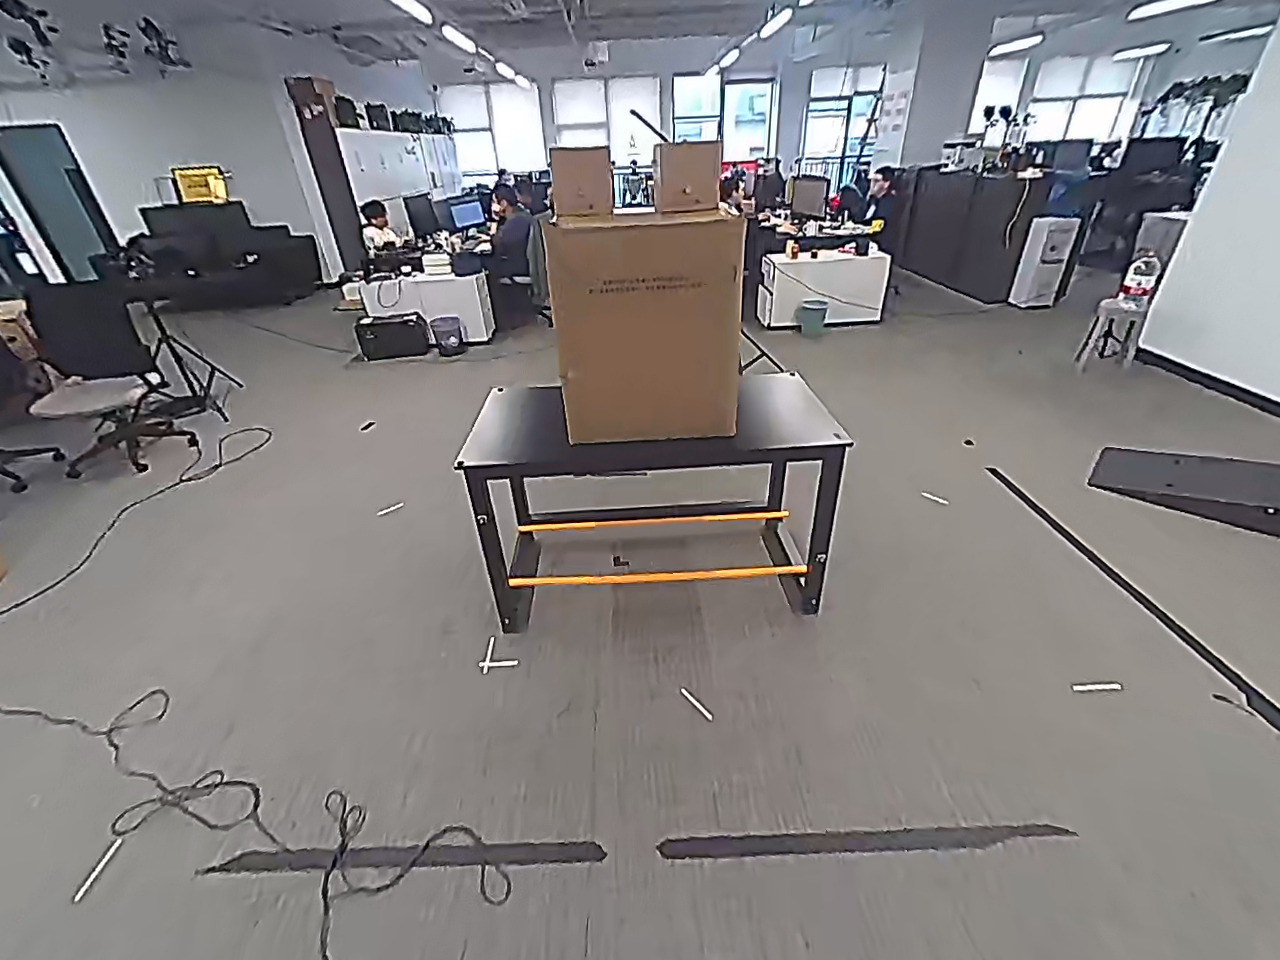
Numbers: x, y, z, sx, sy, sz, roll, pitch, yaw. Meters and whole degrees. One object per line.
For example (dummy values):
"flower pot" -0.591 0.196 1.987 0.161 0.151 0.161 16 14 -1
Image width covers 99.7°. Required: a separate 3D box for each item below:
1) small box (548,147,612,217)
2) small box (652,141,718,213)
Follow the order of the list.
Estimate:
"small box" -0.170 -0.858 1.562 0.168 0.176 0.179 -4 30 -3
"small box" 0.124 -0.859 1.537 0.168 0.176 0.179 -5 31 -2
